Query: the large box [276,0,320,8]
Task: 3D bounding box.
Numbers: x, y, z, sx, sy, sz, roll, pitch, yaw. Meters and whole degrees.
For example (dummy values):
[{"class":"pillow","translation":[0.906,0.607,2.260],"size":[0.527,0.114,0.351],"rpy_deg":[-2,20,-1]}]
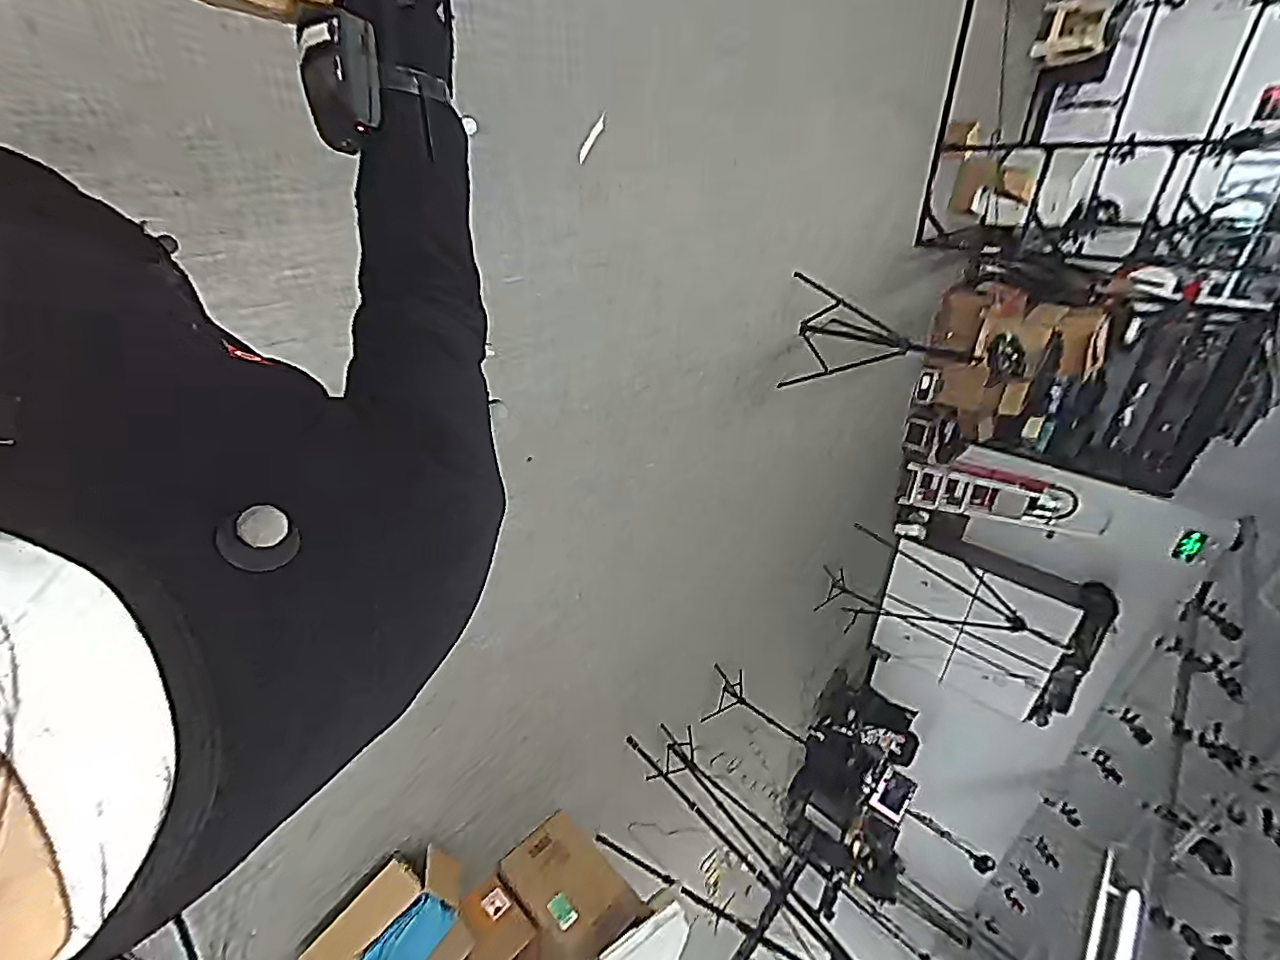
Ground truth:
[{"class":"large box","translation":[-0.393,-0.481,0.218],"size":[0.408,0.320,0.320],"rpy_deg":[-10,131,-46]}]
